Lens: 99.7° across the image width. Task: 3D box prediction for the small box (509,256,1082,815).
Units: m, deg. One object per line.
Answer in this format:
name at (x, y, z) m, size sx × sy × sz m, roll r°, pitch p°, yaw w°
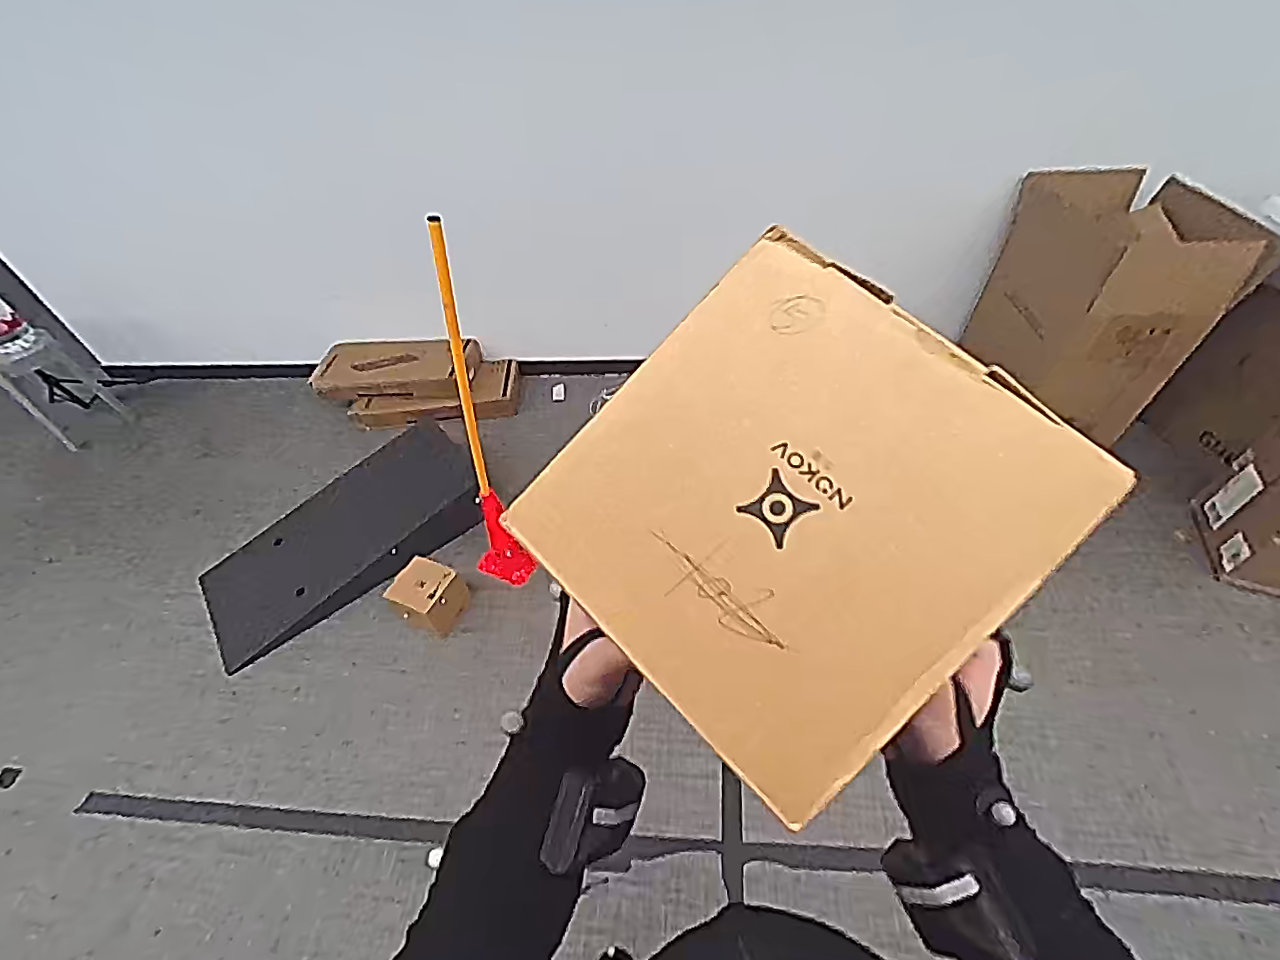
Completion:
small box at (0.069, 0.026, 0.301) m, size 0.168 × 0.176 × 0.179 m, roll 43°, pitch 91°, yaw 17°
